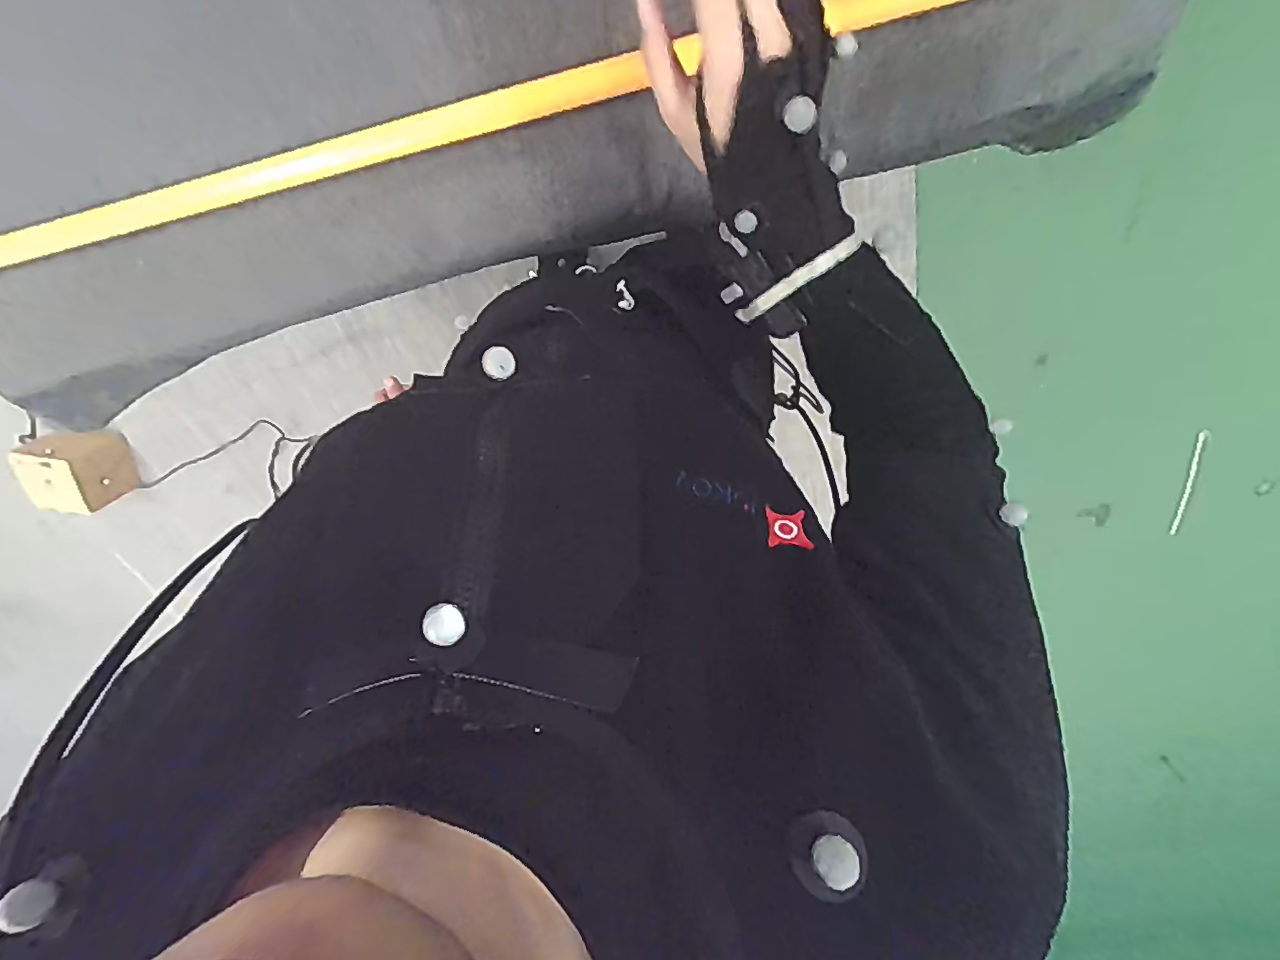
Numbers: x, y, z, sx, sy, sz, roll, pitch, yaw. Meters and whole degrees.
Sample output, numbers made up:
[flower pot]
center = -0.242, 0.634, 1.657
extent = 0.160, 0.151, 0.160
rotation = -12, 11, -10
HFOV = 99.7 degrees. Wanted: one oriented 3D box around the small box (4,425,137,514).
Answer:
[small box]
center = -1.585, -0.033, 1.522
extent = 0.168, 0.176, 0.179
rotation = 9, 121, 0
